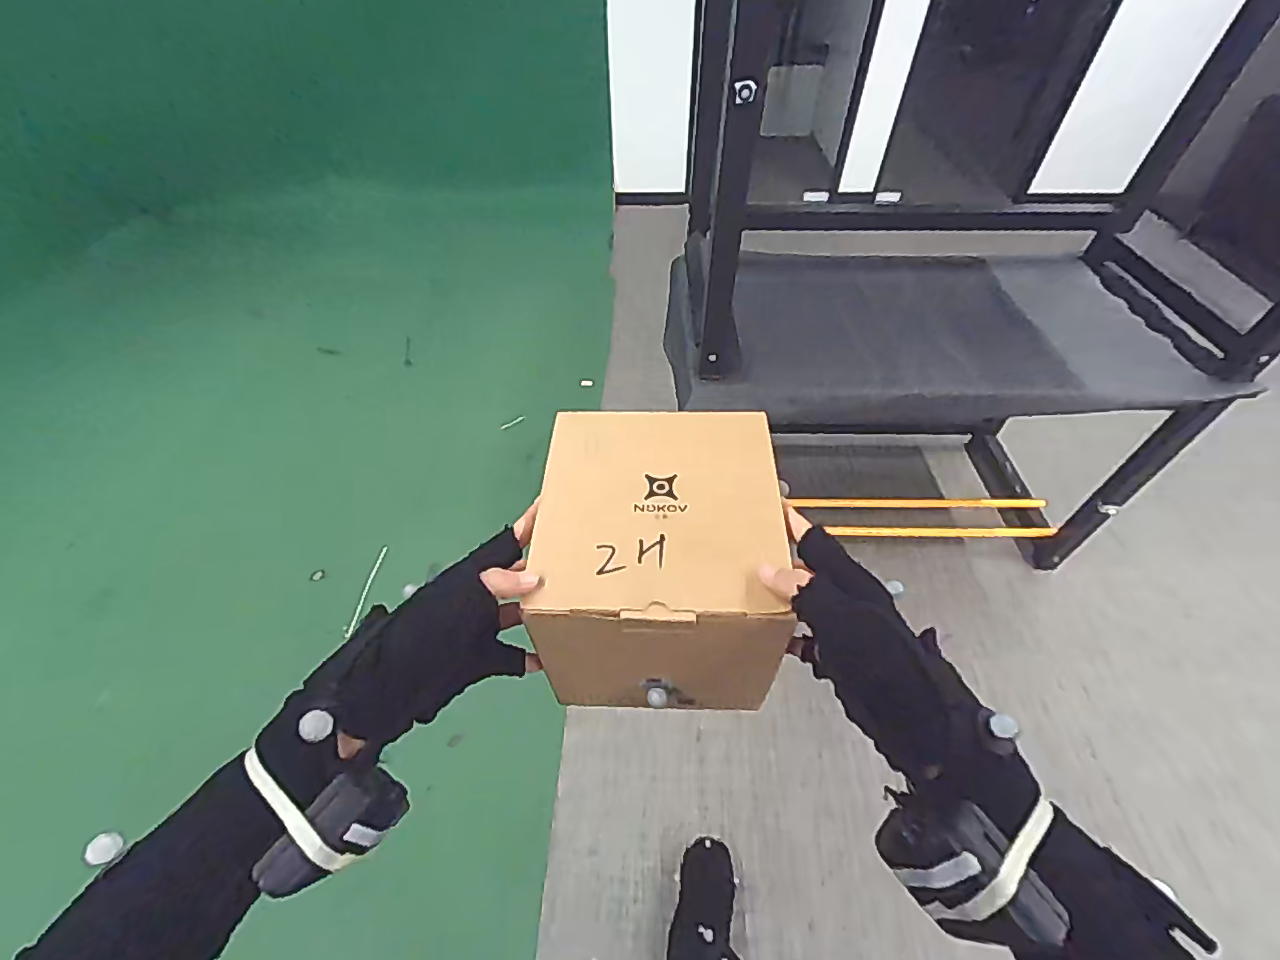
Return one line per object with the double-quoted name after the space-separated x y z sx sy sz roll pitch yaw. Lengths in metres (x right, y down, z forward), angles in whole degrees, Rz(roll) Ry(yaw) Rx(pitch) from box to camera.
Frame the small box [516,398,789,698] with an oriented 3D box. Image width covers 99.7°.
0.012 0.054 0.433 0.168 0.176 0.179 0 49 3 "small box"
